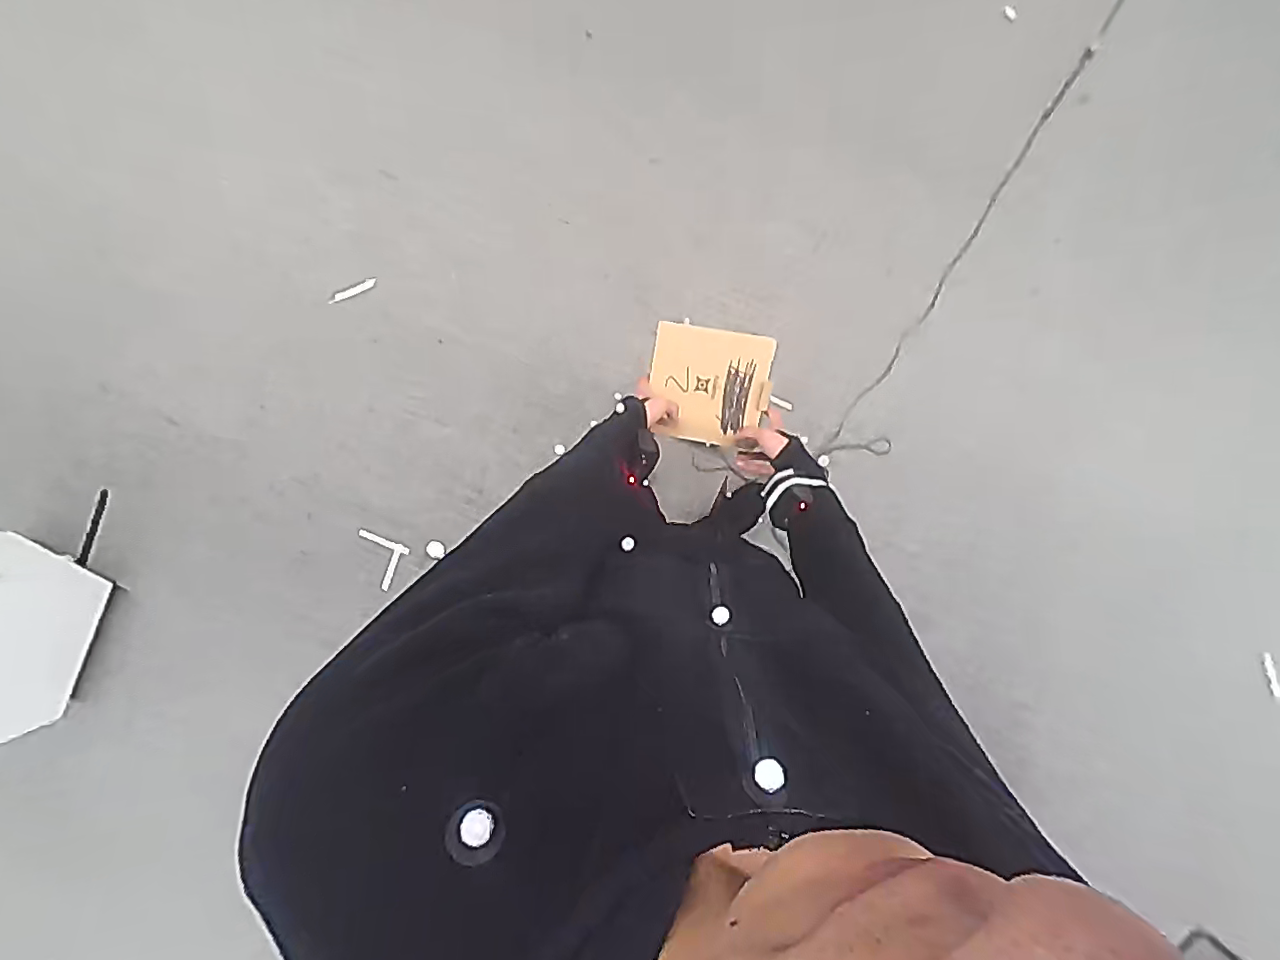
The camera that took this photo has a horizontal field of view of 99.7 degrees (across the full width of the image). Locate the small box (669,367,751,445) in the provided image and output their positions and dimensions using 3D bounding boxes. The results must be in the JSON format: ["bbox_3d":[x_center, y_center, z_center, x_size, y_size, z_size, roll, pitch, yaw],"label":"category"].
[{"bbox_3d":[0.193,-0.201,1.527,0.179,0.176,0.168,23,95,3],"label":"small box"}]
